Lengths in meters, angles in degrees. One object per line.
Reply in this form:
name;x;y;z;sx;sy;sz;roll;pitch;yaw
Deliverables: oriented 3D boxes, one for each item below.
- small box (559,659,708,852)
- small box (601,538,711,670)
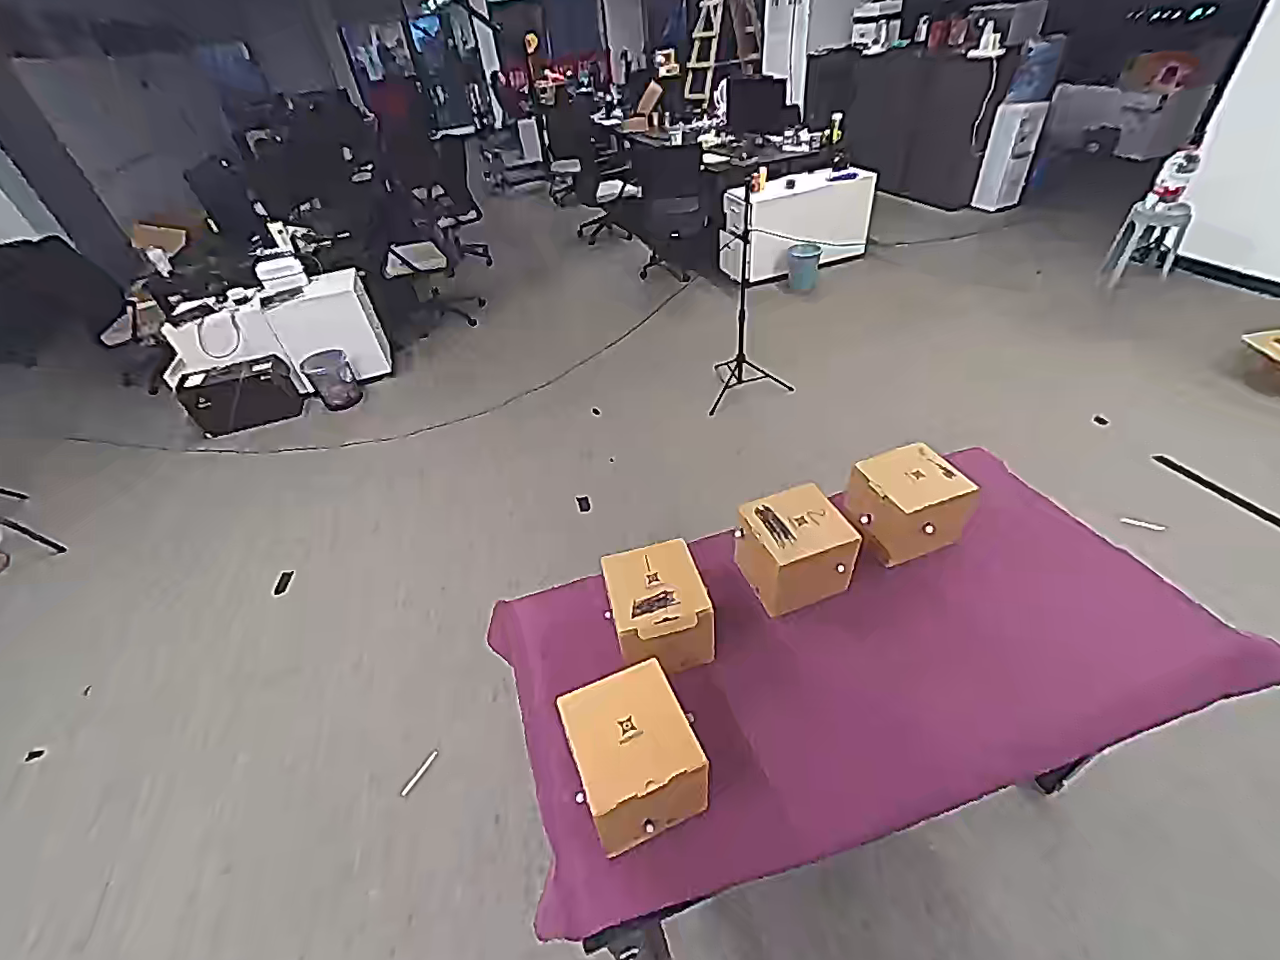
small box;-0.011;0.413;0.815;0.168;0.176;0.179;-18;43;-15
small box;0.032;0.242;1.009;0.168;0.176;0.179;-13;41;-7
